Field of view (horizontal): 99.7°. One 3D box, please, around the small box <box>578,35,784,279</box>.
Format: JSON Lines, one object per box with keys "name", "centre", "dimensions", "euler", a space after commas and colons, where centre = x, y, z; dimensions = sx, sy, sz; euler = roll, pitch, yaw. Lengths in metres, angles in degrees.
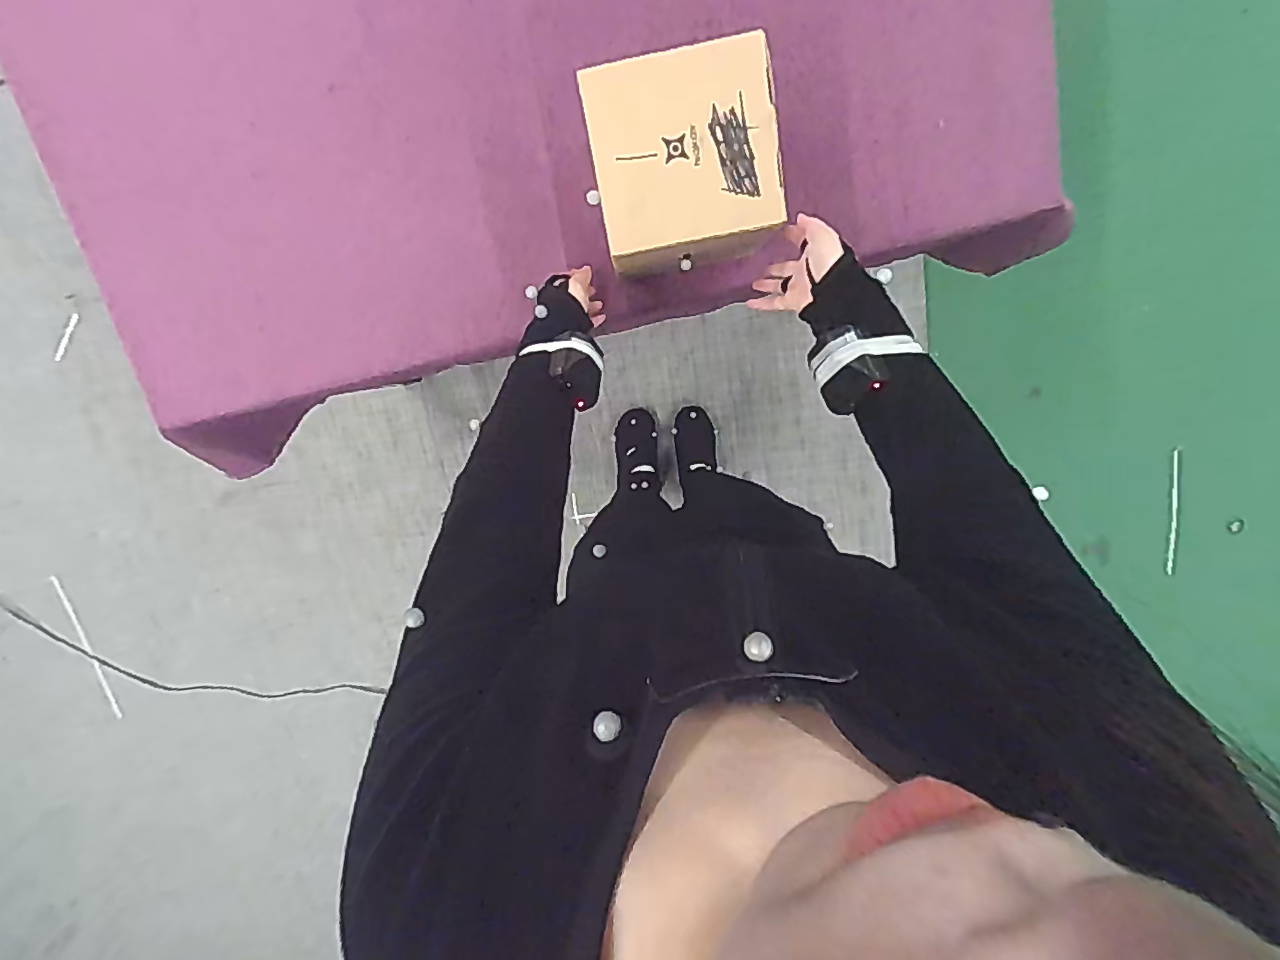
{"name": "small box", "centre": [0.041, -0.326, 0.584], "dimensions": [0.179, 0.176, 0.168], "euler": [-10, 102, 4]}
